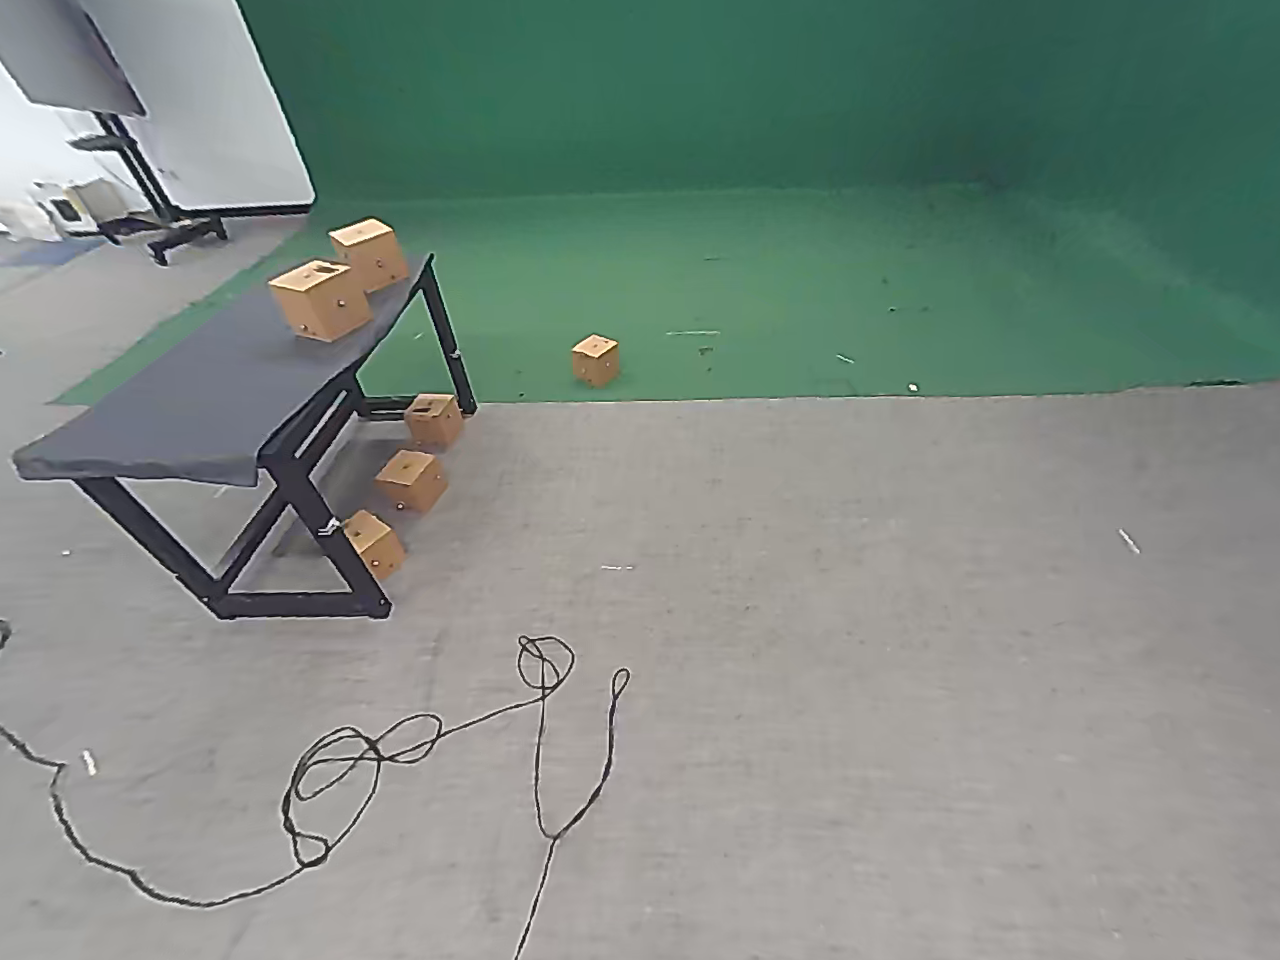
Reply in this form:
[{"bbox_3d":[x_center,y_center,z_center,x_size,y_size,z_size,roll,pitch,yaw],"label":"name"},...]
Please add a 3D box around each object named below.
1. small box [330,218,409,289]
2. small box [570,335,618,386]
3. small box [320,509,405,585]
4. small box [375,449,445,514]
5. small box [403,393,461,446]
[{"bbox_3d":[-0.946,-0.792,1.901,0.168,0.176,0.179,-35,51,-25],"label":"small box"},{"bbox_3d":[-0.223,-0.599,2.722,0.168,0.176,0.179,25,51,28],"label":"small box"},{"bbox_3d":[-0.957,0.239,1.880,0.179,0.176,0.168,24,50,27],"label":"small box"},{"bbox_3d":[-0.890,0.007,2.120,0.168,0.176,0.179,9,46,14],"label":"small box"},{"bbox_3d":[-0.918,-0.269,2.412,0.168,0.176,0.179,4,43,7],"label":"small box"}]
